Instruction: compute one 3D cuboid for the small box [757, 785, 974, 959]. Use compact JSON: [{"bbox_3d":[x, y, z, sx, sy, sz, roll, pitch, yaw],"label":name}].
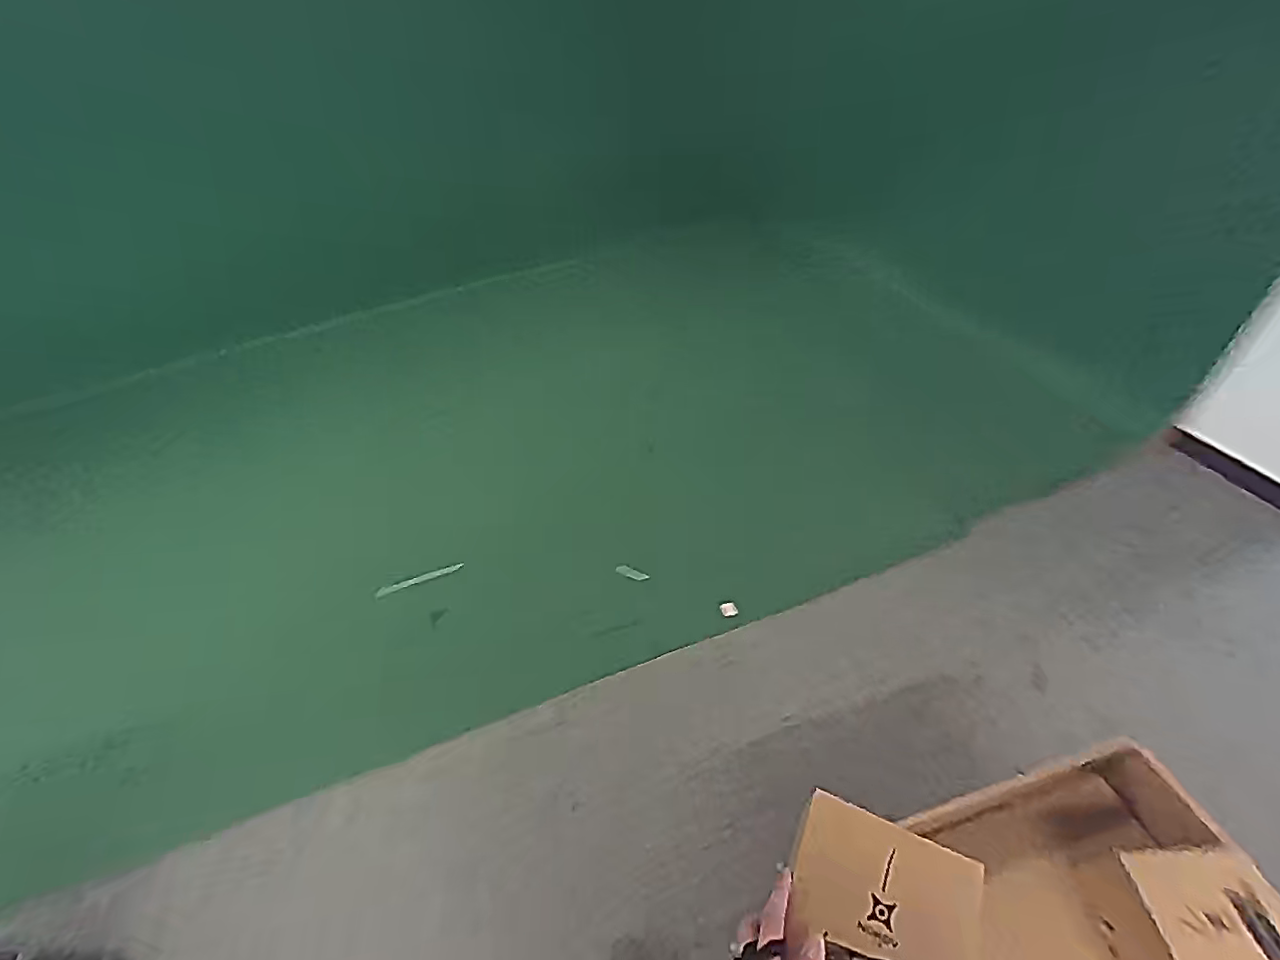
[{"bbox_3d":[0.226,0.462,0.569,0.168,0.176,0.179,16,56,21],"label":"small box"}]
